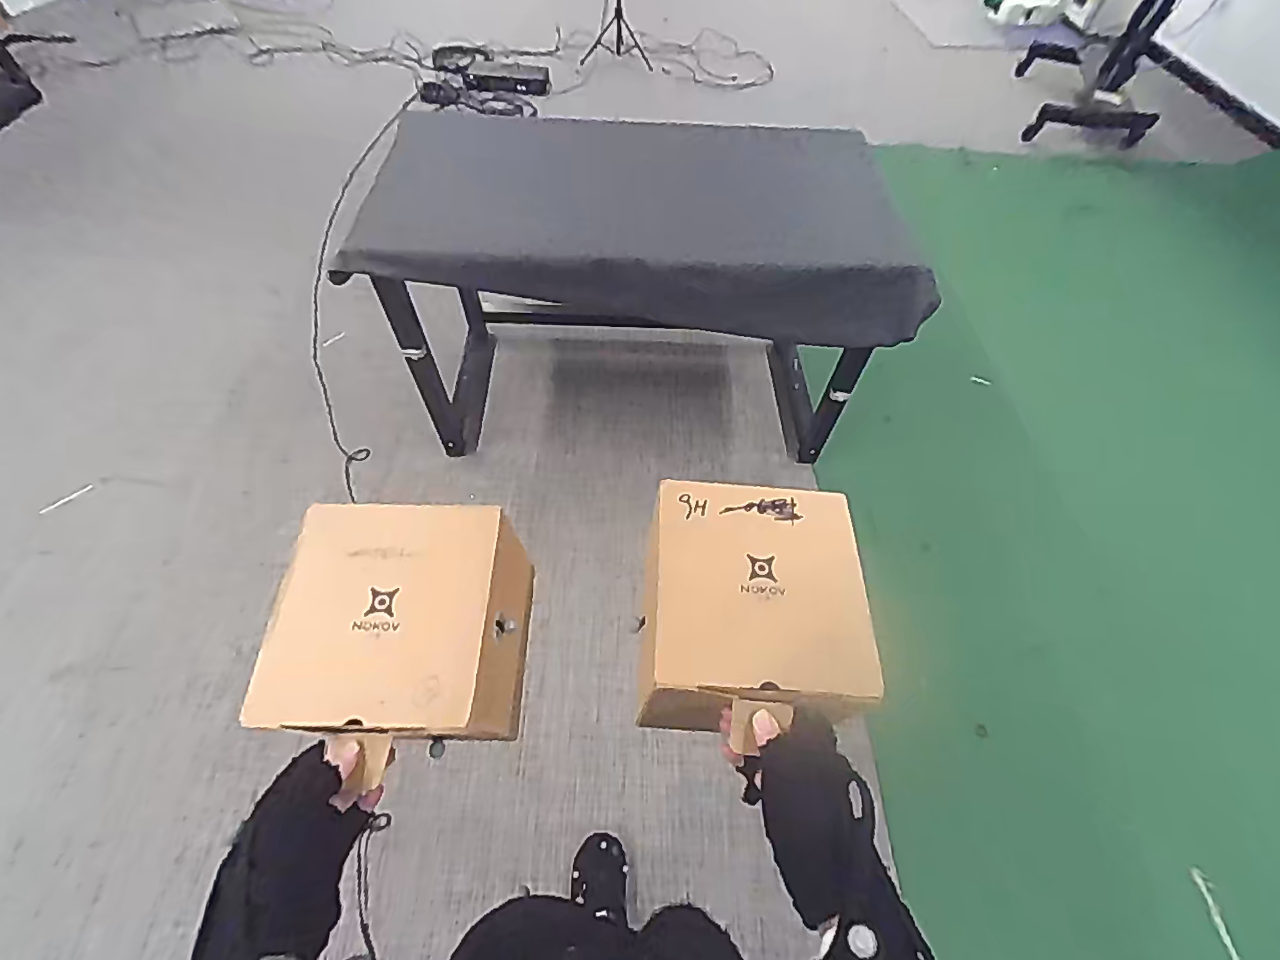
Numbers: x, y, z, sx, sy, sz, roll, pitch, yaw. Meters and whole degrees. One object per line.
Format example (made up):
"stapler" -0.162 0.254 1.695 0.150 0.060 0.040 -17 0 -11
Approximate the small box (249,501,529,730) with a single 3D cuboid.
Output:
"small box" -0.204 0.133 0.501 0.168 0.176 0.179 1 62 -1

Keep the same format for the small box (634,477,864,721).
"small box" 0.083 0.119 0.503 0.168 0.176 0.179 4 58 -2
